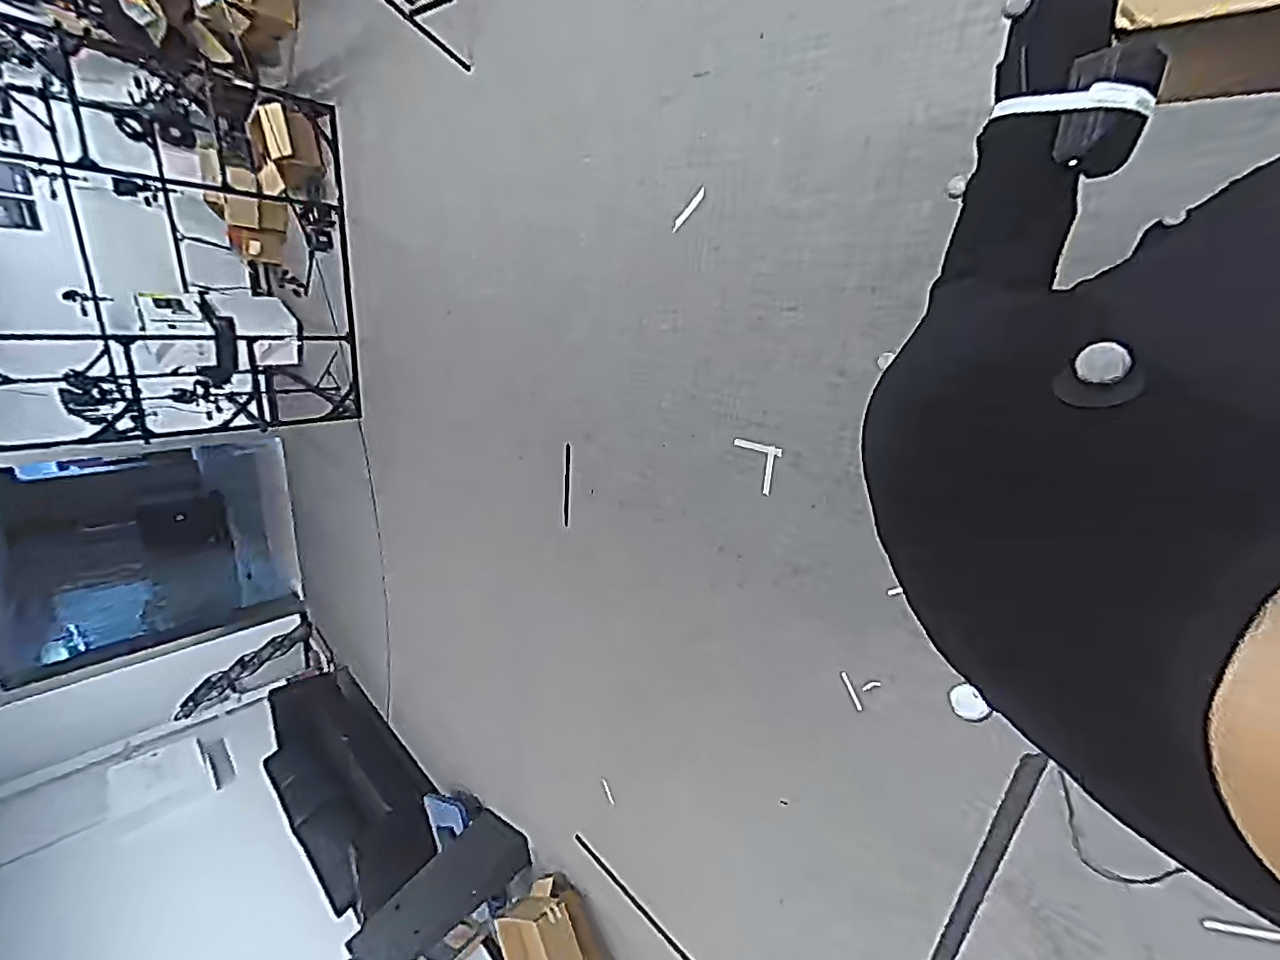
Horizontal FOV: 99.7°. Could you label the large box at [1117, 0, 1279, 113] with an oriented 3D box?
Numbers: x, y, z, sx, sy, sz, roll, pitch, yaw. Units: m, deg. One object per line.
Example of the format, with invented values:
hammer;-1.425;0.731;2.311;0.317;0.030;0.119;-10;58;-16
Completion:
large box;0.549;-0.420;0.275;0.408;0.320;0.320;19;121;37
